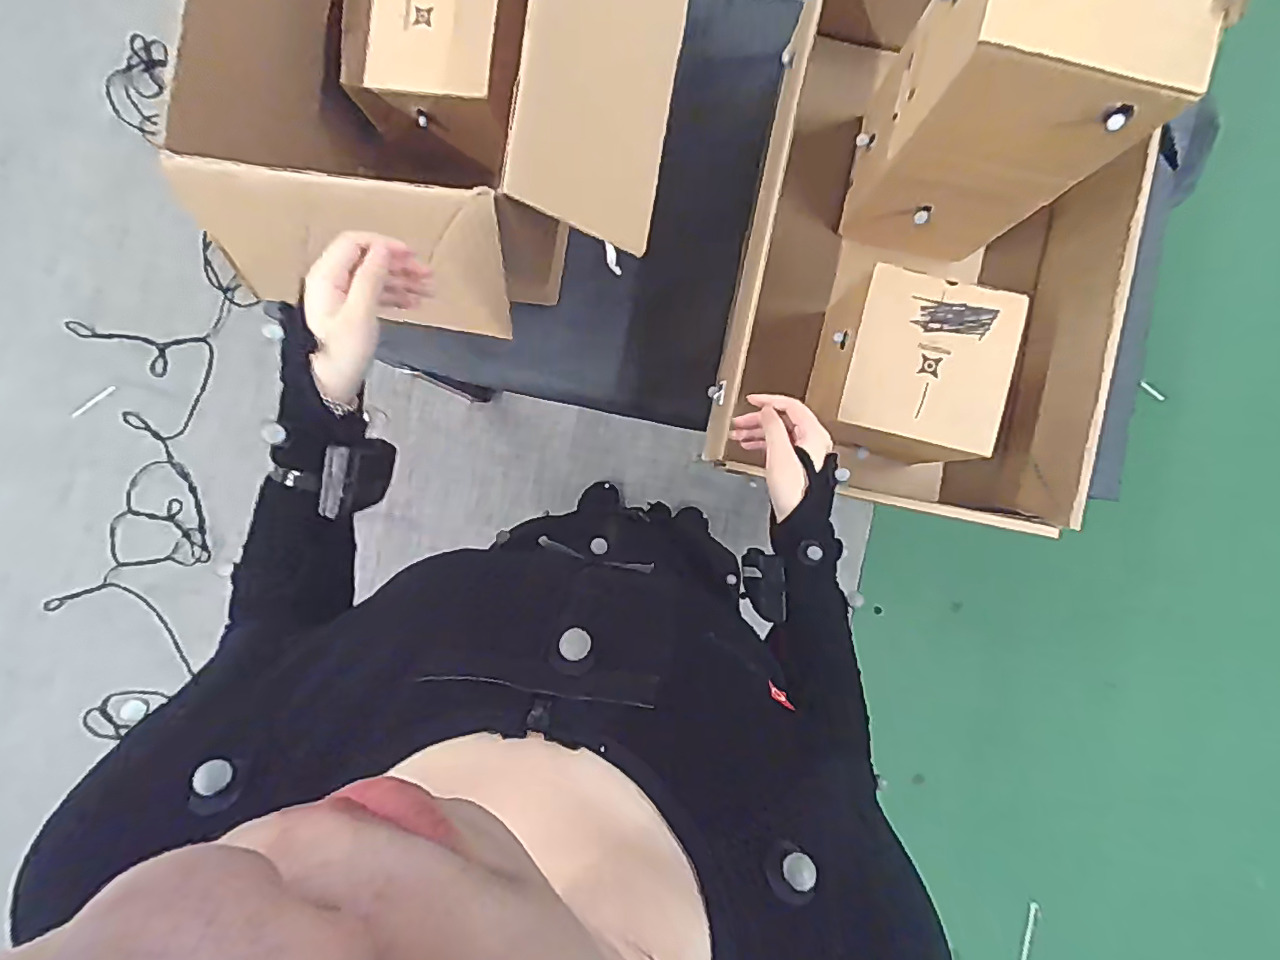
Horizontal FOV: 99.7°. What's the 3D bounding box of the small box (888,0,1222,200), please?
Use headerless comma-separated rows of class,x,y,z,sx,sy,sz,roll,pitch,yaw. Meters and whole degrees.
small box,0.355,-0.384,0.486,0.179,0.176,0.168,14,92,0
